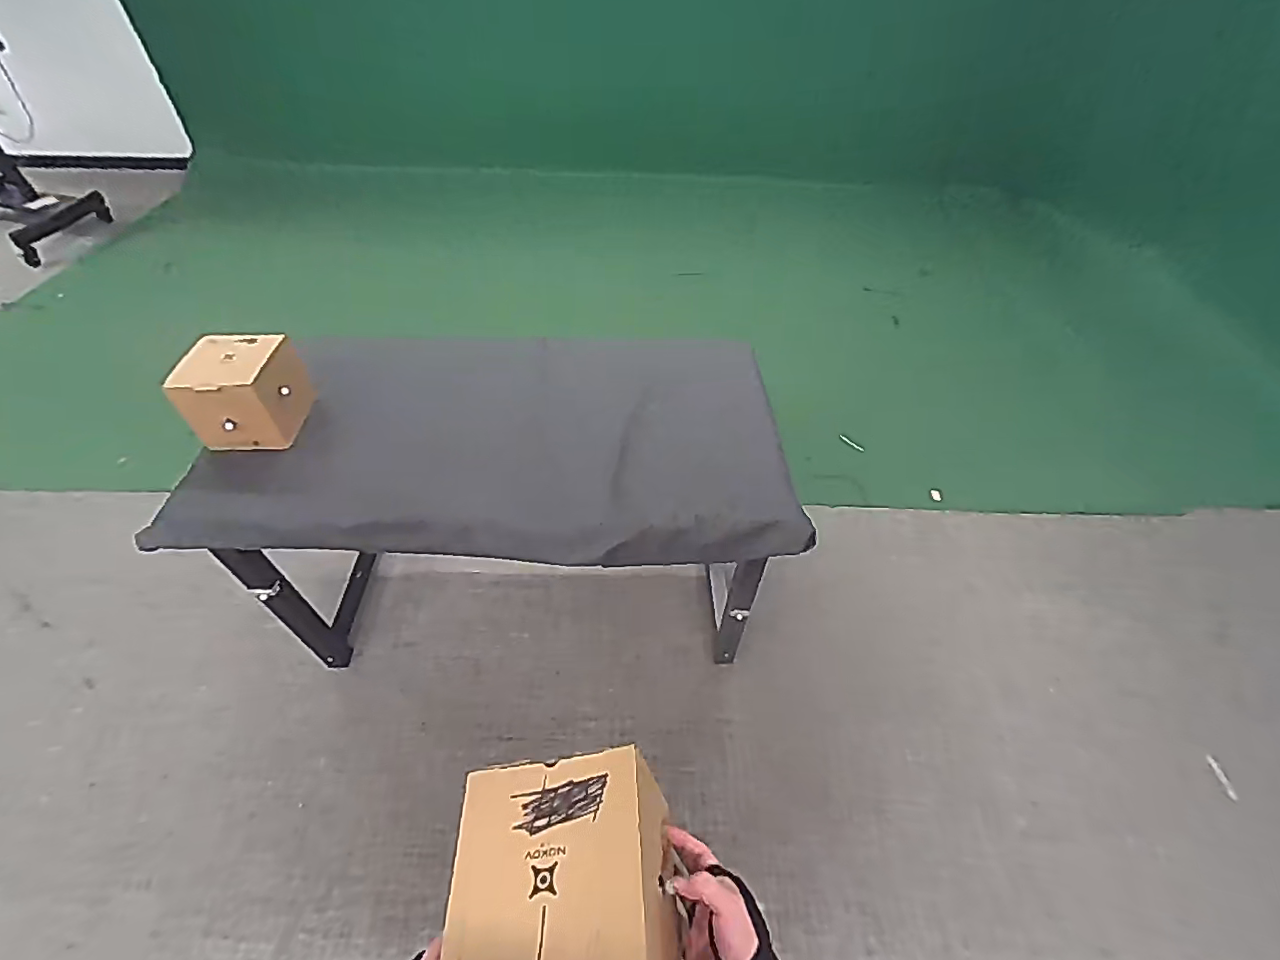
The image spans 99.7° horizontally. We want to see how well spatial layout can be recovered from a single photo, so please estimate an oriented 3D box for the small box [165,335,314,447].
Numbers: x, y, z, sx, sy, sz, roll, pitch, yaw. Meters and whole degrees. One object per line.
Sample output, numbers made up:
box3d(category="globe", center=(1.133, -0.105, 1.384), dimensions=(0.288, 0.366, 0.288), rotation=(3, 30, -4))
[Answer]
box3d(category="small box", center=(-0.818, -0.183, 1.131), dimensions=(0.168, 0.176, 0.179), rotation=(-1, 49, -4))
